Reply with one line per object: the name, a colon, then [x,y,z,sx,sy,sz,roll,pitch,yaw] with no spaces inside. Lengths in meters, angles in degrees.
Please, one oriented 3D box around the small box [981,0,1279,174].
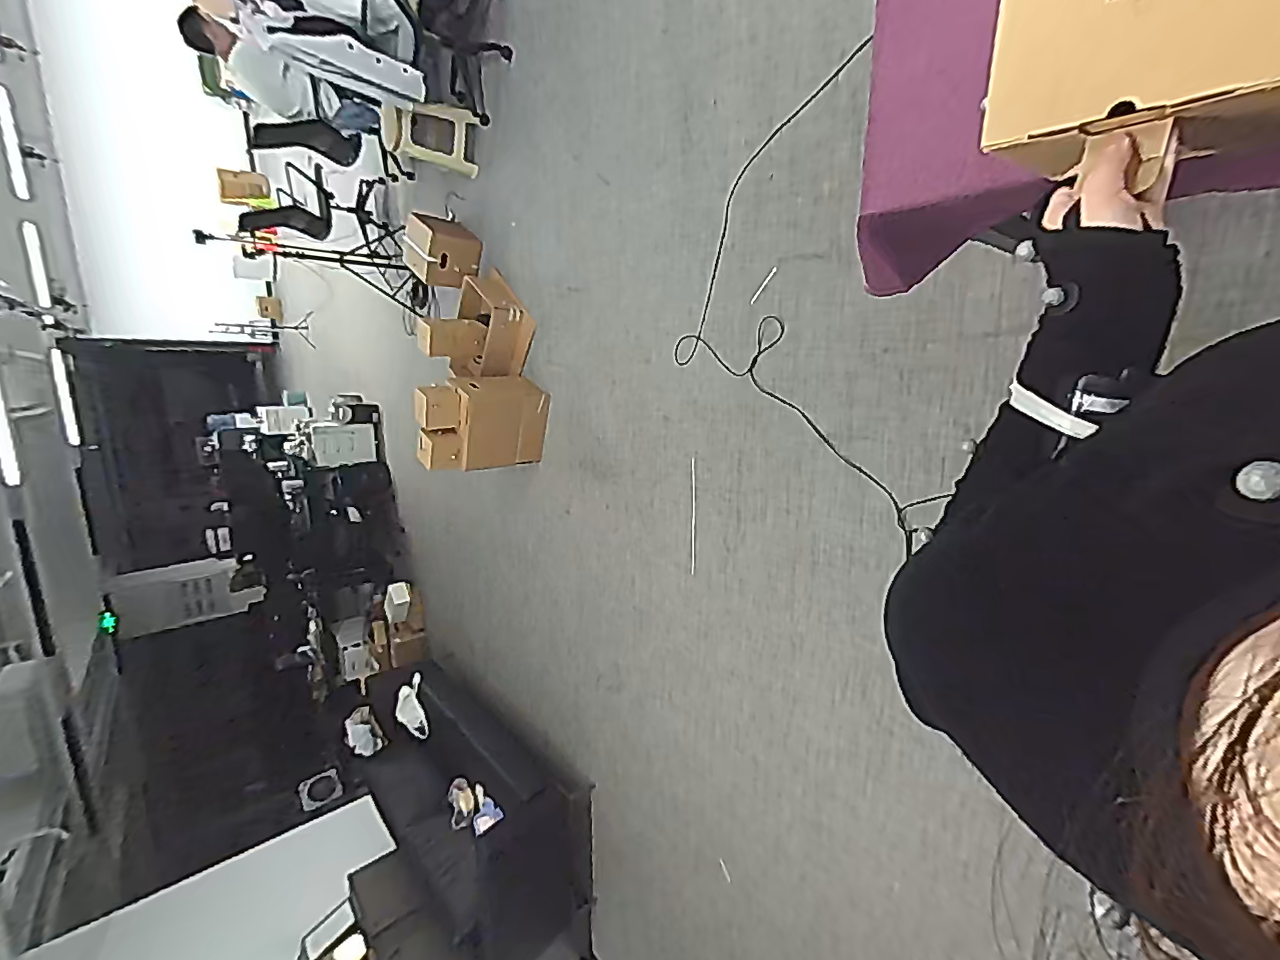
small box: [0.380,-0.341,0.389,0.168,0.176,0.179,18,117,48]
